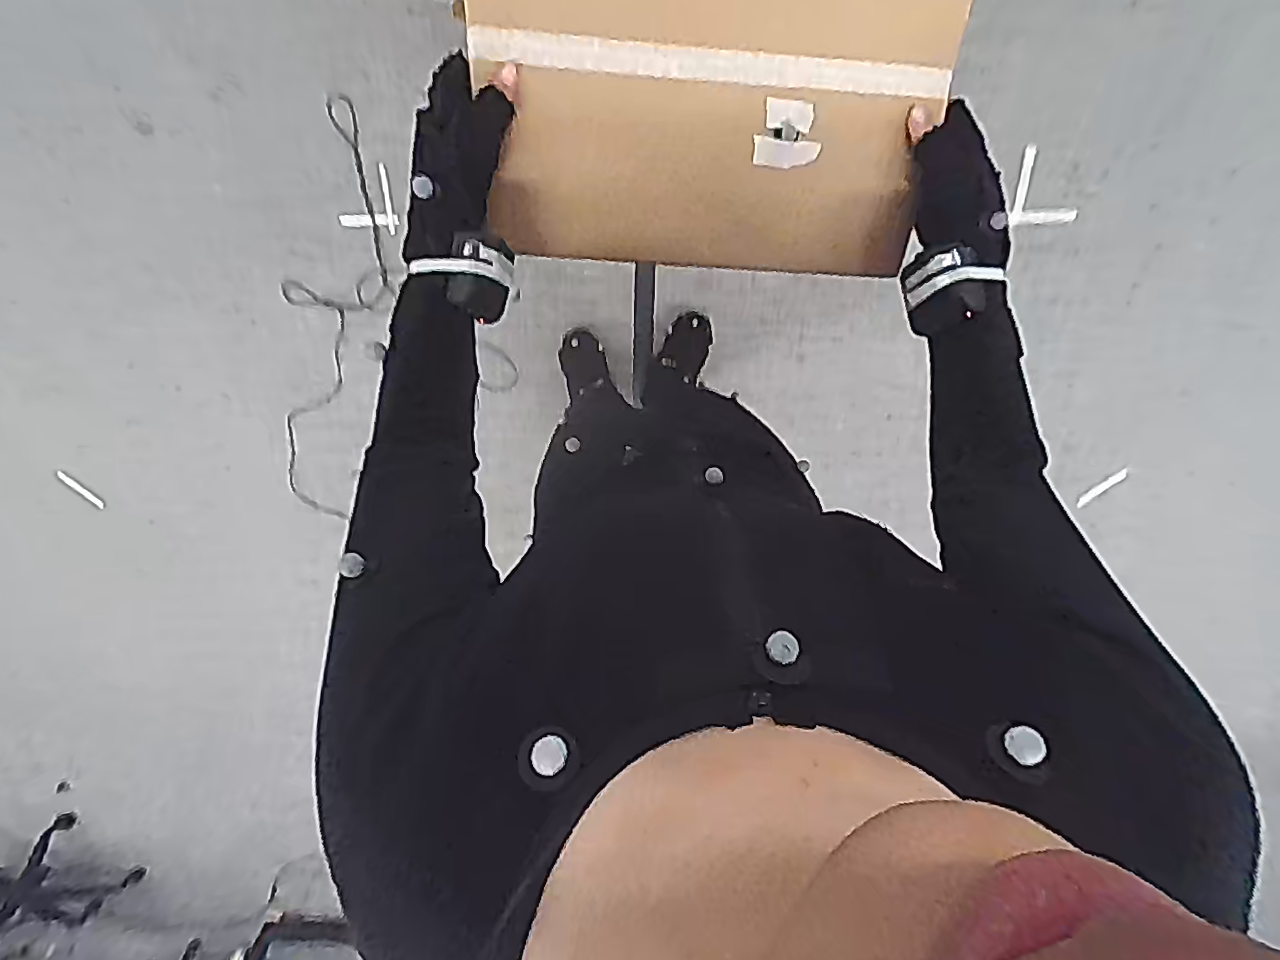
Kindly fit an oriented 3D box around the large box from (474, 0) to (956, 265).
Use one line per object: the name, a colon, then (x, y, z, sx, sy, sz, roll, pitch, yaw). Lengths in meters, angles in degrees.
large box: (0.052, -0.423, 0.594, 0.408, 0.320, 0.320, 1, 118, -5)
